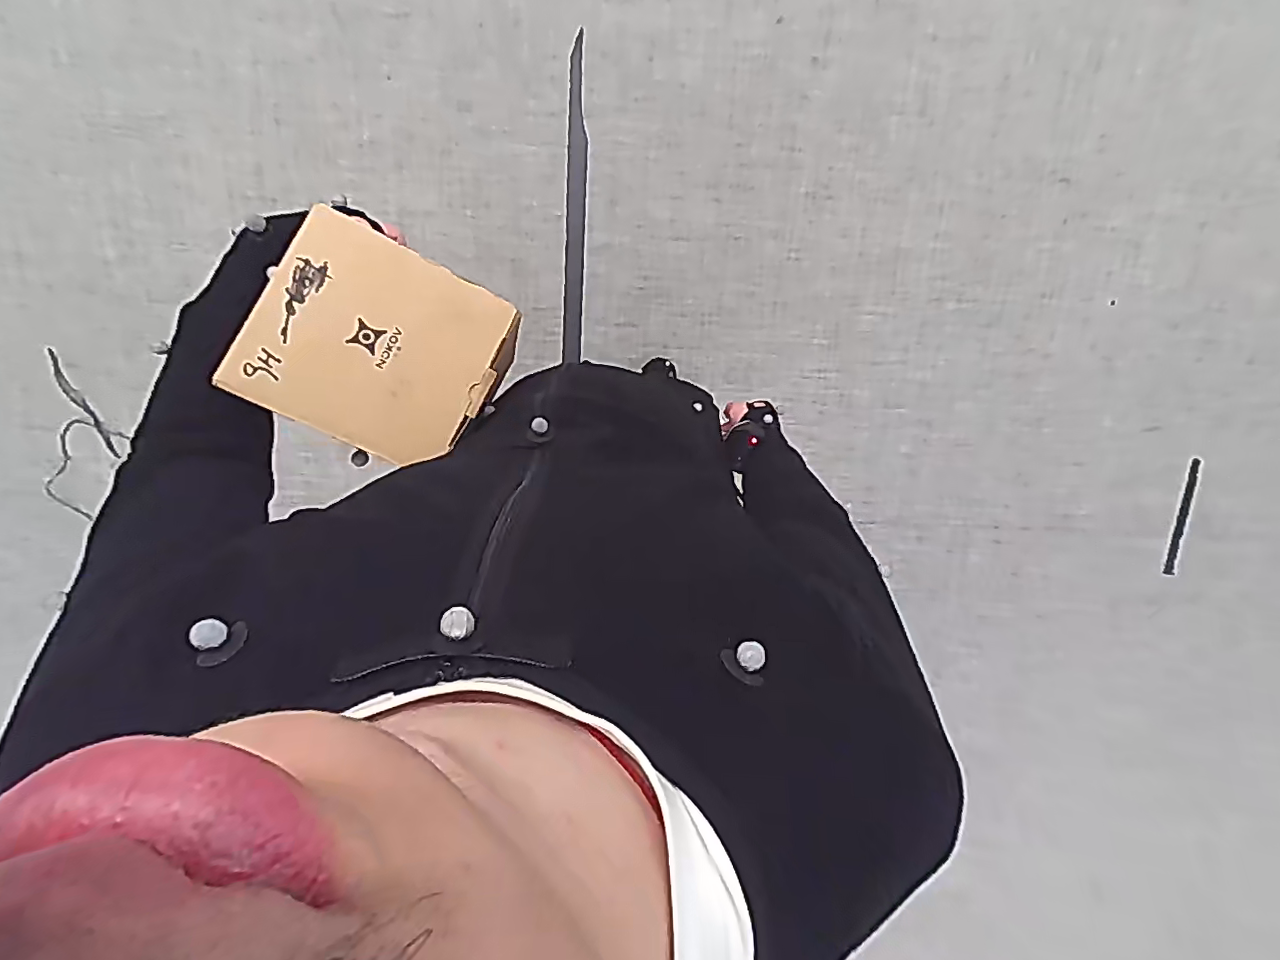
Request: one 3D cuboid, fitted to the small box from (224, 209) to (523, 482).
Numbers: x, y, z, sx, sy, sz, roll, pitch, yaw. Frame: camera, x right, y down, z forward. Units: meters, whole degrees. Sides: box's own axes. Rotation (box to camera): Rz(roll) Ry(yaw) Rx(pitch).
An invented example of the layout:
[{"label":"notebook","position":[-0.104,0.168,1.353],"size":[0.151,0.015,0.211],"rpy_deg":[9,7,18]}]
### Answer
[{"label":"small box","position":[-0.230,-0.107,0.516],"size":[0.179,0.176,0.168],"rpy_deg":[26,81,-14]}]
